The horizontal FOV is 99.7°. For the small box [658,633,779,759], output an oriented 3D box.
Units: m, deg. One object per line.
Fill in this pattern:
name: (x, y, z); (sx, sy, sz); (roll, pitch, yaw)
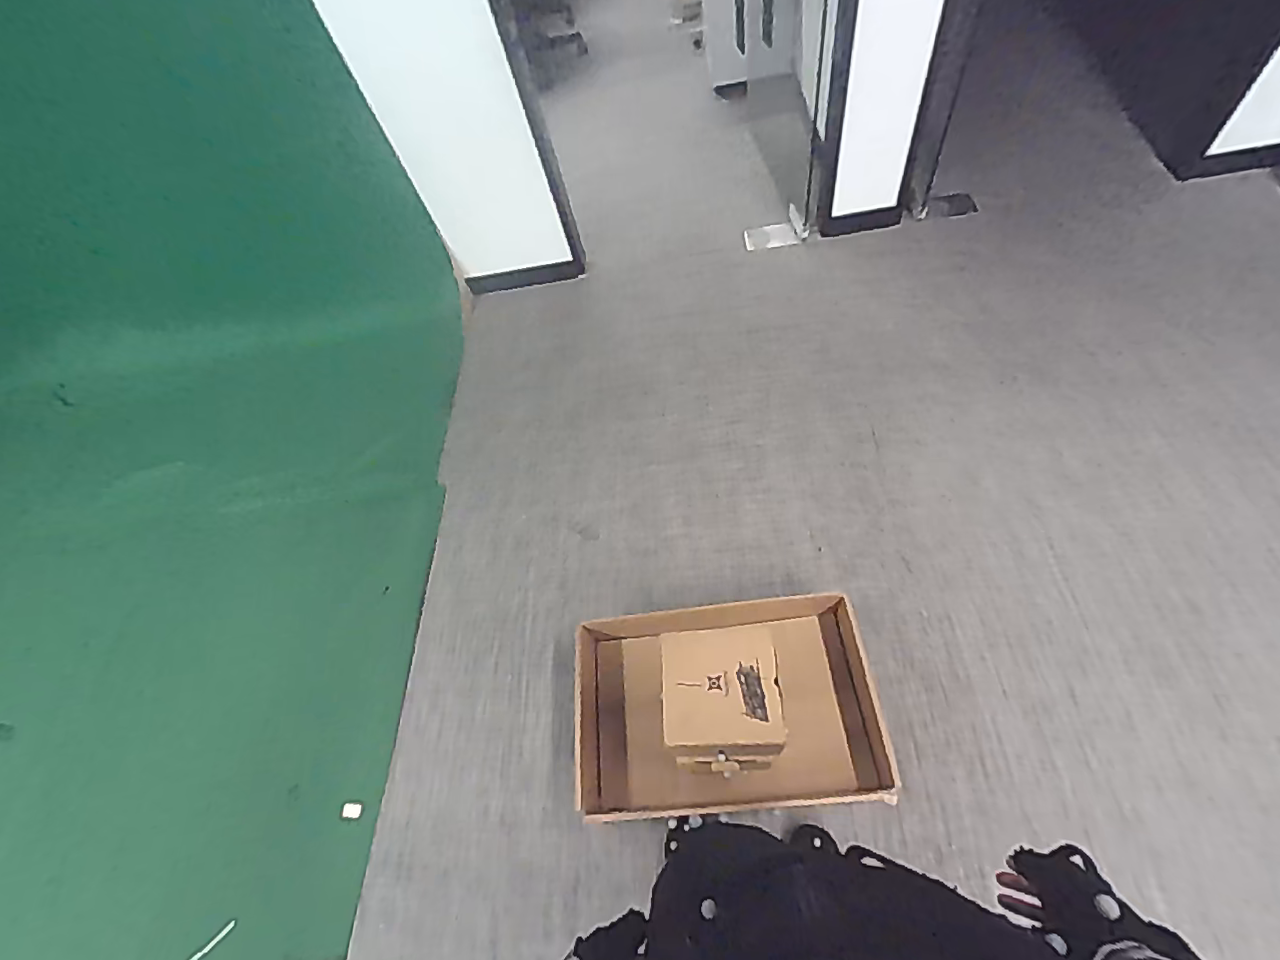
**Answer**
small box: (0.125, 0.357, 0.887); (0.179, 0.176, 0.168); (-4, 57, 8)

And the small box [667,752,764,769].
small box: (0.140, 0.439, 1.010); (0.168, 0.176, 0.179); (-4, 58, 8)
